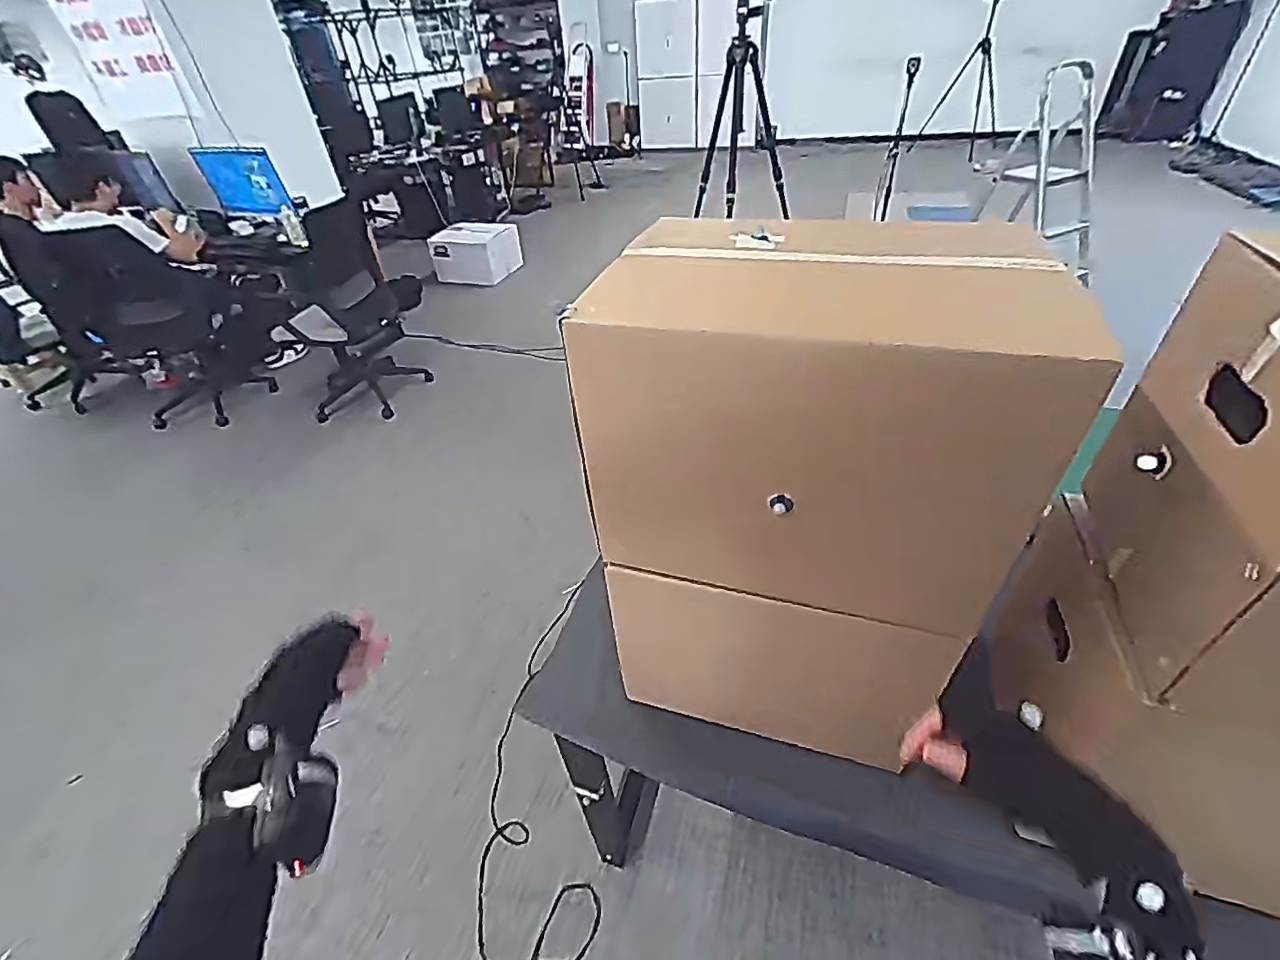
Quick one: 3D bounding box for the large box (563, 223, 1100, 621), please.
[{"bbox_3d":[0.181,-0.085,0.615,0.408,0.320,0.320,8,41,18],"label":"large box"}]
